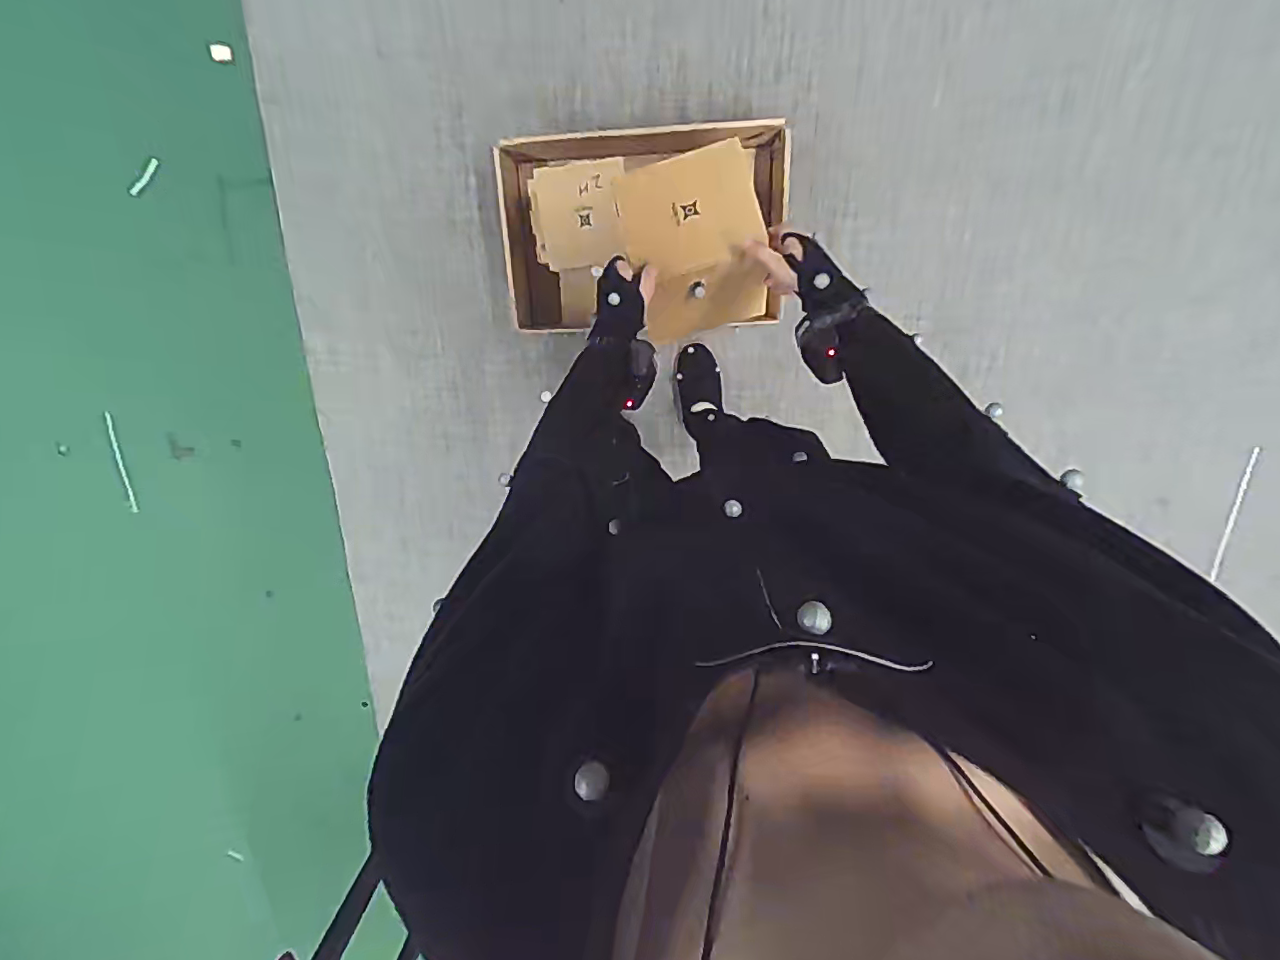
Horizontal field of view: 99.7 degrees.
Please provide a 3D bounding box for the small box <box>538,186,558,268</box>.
[{"bbox_3d":[-0.117,-0.572,1.231,0.179,0.176,0.168,-4,109,5],"label":"small box"}]

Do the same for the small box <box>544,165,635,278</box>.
[{"bbox_3d":[-0.080,-0.505,1.078,0.168,0.176,0.179,-6,109,5],"label":"small box"}]

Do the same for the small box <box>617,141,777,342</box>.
[{"bbox_3d":[0.084,-0.320,0.759,0.179,0.176,0.168,-14,76,10],"label":"small box"}]
